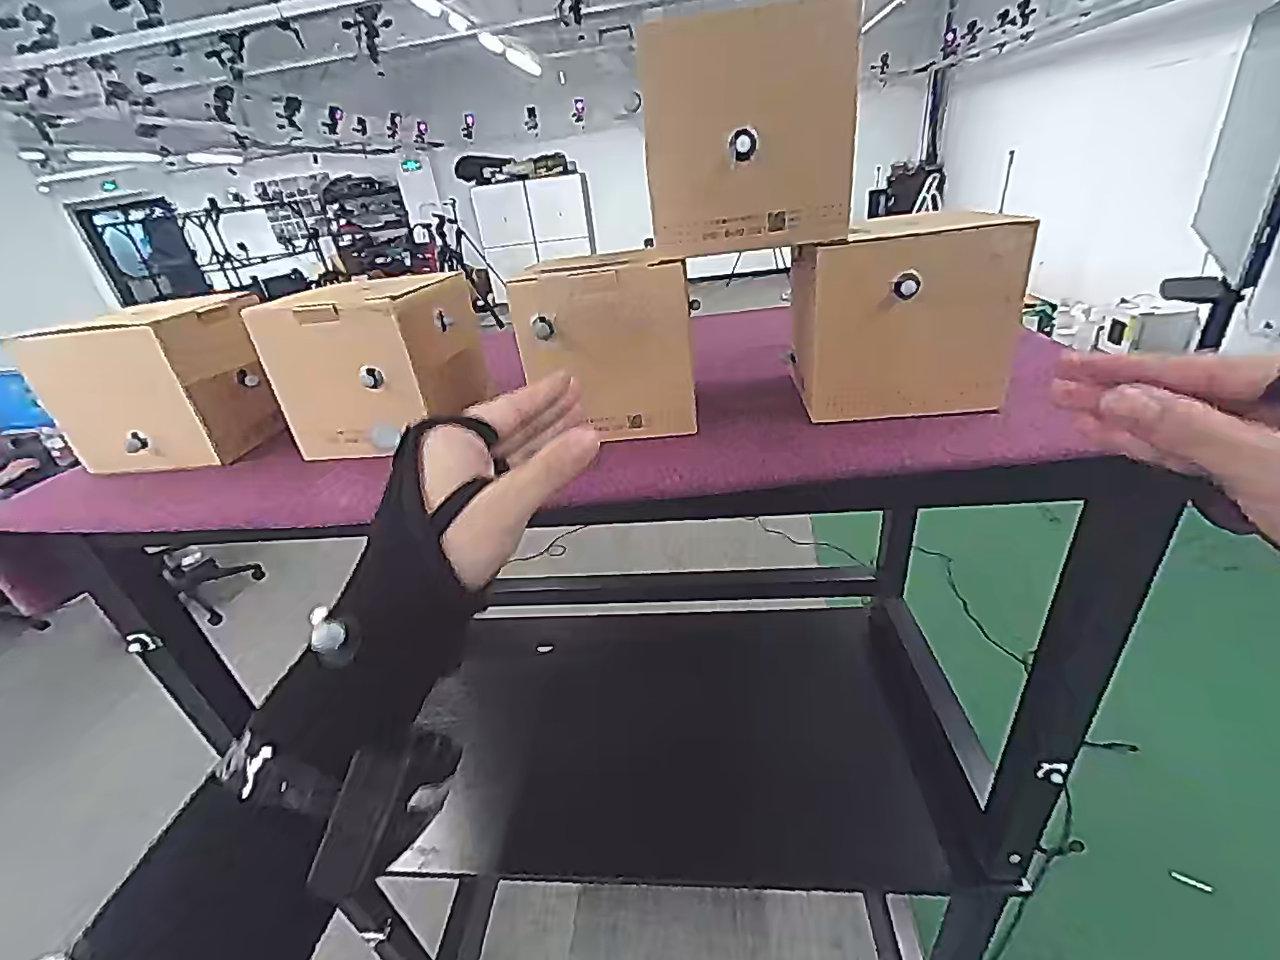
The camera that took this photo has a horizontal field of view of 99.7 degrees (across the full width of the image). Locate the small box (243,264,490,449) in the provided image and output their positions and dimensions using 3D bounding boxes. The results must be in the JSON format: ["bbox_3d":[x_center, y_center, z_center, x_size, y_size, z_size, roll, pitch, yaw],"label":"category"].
[{"bbox_3d":[-0.292,-0.142,0.627,0.168,0.176,0.179,-2,28,9],"label":"small box"}]

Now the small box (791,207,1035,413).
[{"bbox_3d":[0.255,-0.174,0.552,0.179,0.176,0.168,-3,28,8],"label":"small box"}]

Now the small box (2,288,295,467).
[{"bbox_3d":[-0.564,-0.126,0.658,0.179,0.176,0.168,-3,28,5],"label":"small box"}]

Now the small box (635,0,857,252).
[{"bbox_3d":[0.093,-0.312,0.499,0.168,0.176,0.179,-4,27,6],"label":"small box"}]
